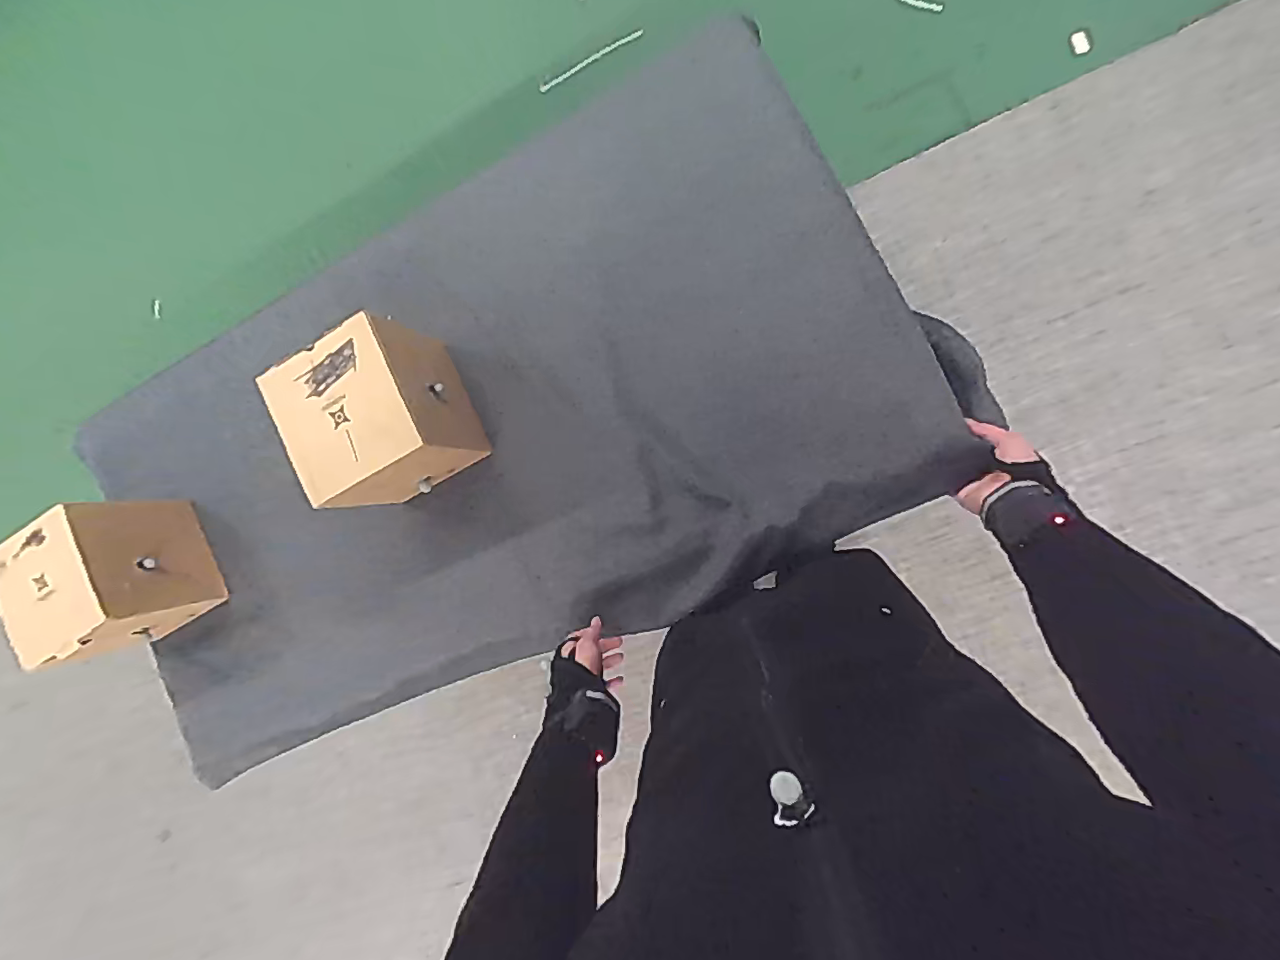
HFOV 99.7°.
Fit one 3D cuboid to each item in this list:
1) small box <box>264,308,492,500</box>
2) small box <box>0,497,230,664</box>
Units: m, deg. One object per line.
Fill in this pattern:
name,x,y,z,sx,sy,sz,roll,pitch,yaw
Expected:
small box,-0.325,-0.086,0.701,0.168,0.176,0.179,-27,85,11
small box,-0.762,0.136,0.798,0.168,0.176,0.179,-29,85,10
